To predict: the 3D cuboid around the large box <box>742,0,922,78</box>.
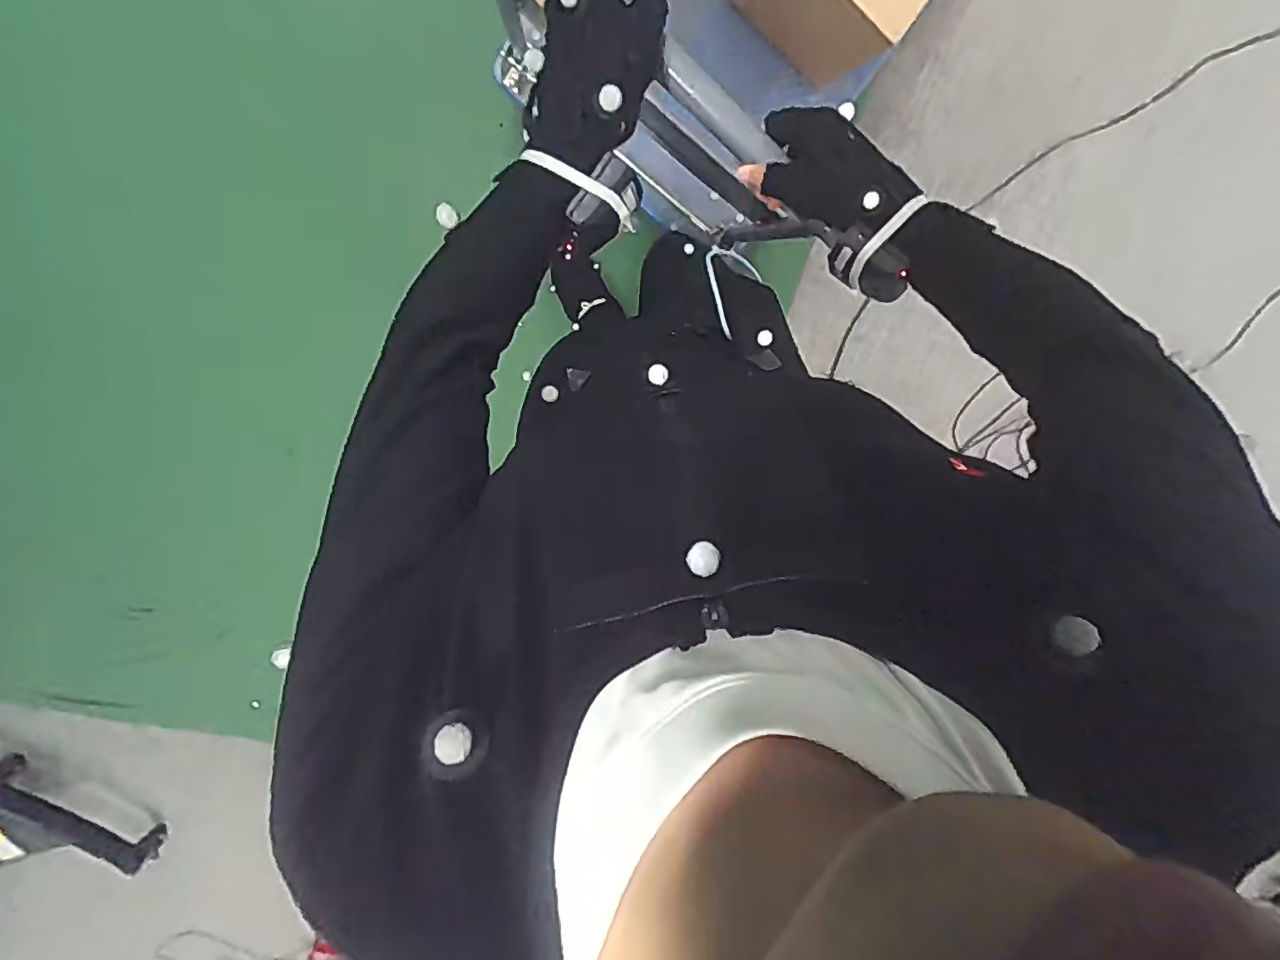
[{"bbox_3d":[0.277,-0.892,0.779,0.408,0.320,0.320,32,111,-16],"label":"large box"}]
